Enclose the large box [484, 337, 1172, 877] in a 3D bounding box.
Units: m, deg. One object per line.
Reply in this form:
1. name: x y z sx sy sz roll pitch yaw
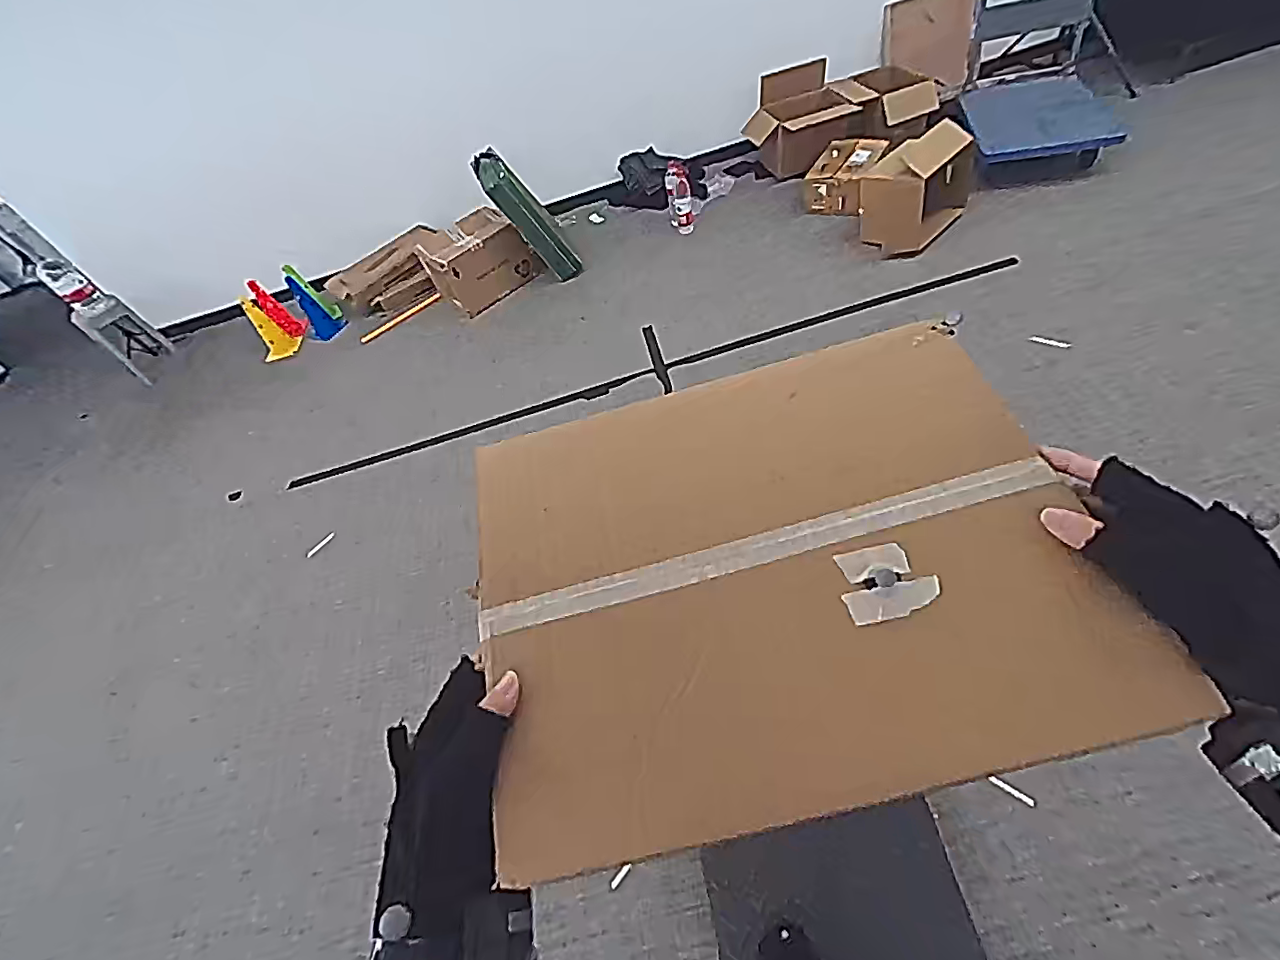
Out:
1. large box: 0.109 0.131 0.517 0.408 0.320 0.320 -16 59 2
